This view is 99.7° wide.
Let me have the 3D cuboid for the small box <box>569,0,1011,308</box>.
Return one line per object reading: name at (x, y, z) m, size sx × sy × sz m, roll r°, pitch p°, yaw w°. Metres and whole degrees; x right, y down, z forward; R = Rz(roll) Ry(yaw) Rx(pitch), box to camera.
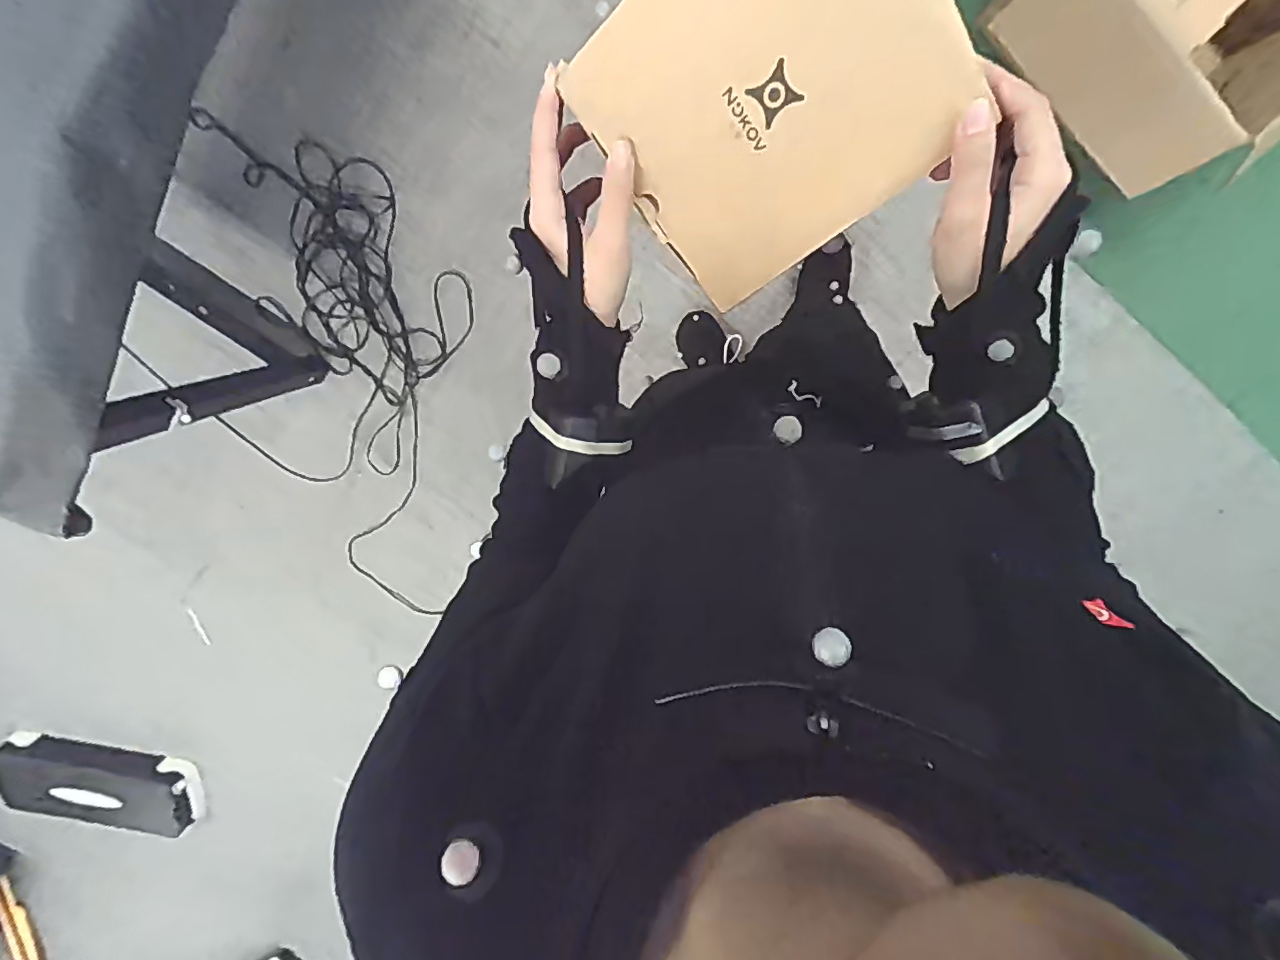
small box at (0.088, -0.251, 0.346) m, size 0.179 × 0.176 × 0.168 m, roll -29°, pitch 116°, yaw 31°
